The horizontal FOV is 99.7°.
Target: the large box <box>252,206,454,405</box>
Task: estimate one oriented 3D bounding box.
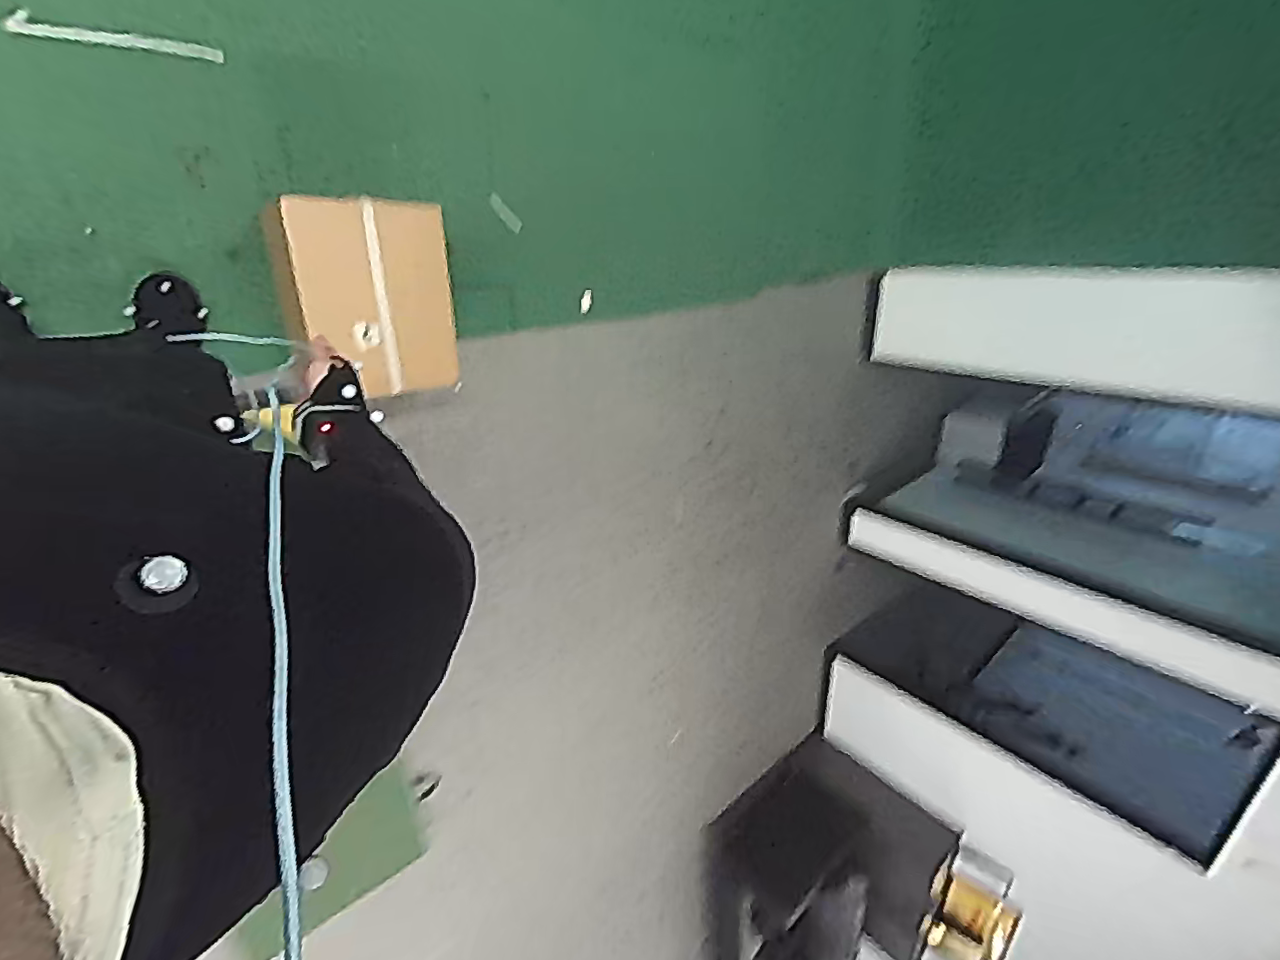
[{"bbox_3d":[-0.684,-0.428,1.305,0.320,0.320,0.408,-17,118,-36],"label":"large box"}]
